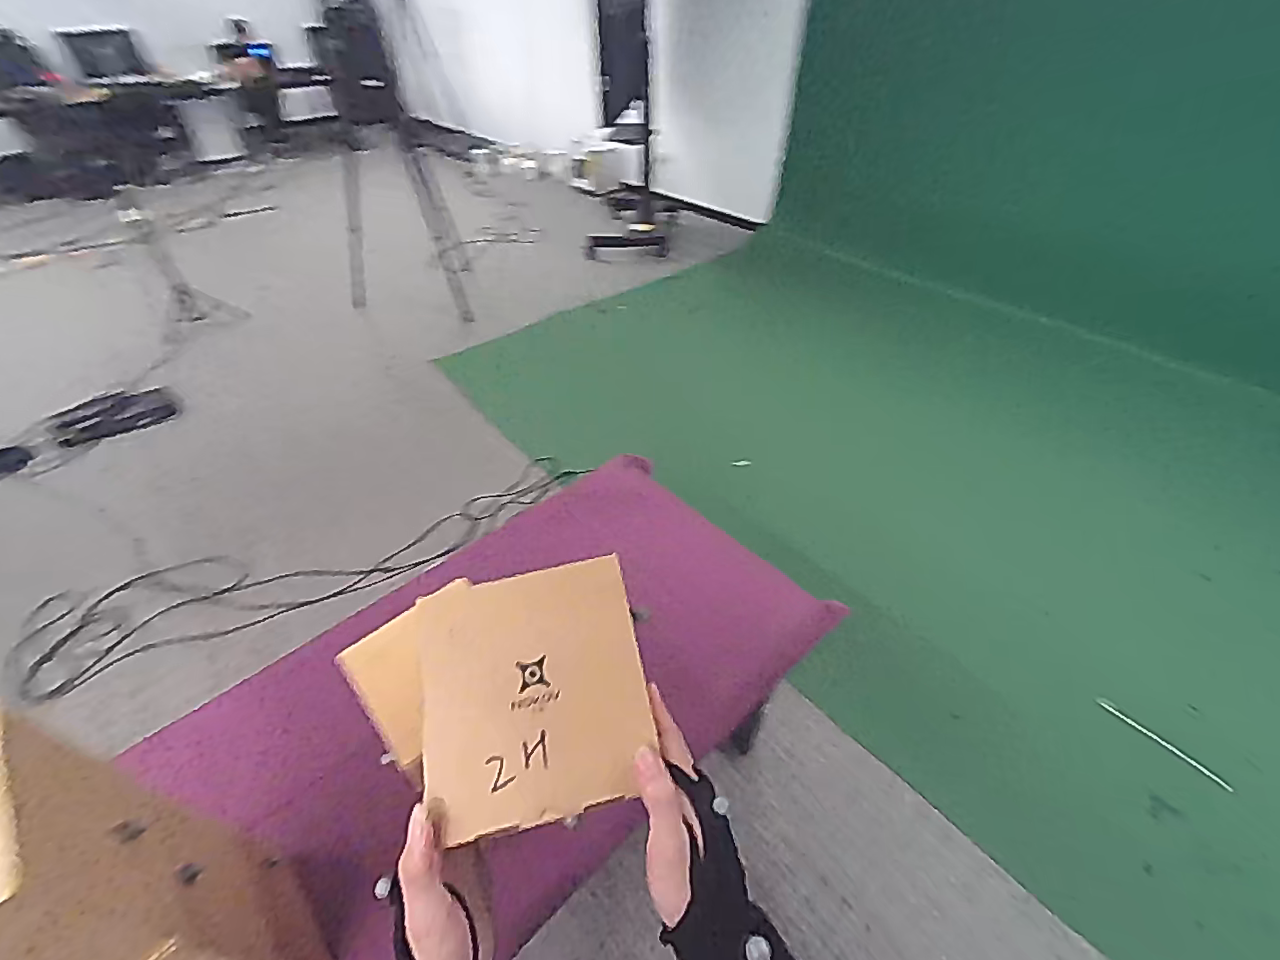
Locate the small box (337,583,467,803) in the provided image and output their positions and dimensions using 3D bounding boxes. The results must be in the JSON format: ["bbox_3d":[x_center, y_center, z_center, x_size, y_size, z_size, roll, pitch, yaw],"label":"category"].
[{"bbox_3d":[-0.238,0.271,0.677,0.168,0.176,0.179,-34,52,-31],"label":"small box"}]

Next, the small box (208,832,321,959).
[{"bbox_3d":[-0.498,0.557,0.614,0.168,0.176,0.179,-35,53,-30],"label":"small box"}]

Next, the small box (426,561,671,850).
[{"bbox_3d":[-0.073,0.192,0.471,0.168,0.176,0.179,-12,64,-4],"label":"small box"}]
